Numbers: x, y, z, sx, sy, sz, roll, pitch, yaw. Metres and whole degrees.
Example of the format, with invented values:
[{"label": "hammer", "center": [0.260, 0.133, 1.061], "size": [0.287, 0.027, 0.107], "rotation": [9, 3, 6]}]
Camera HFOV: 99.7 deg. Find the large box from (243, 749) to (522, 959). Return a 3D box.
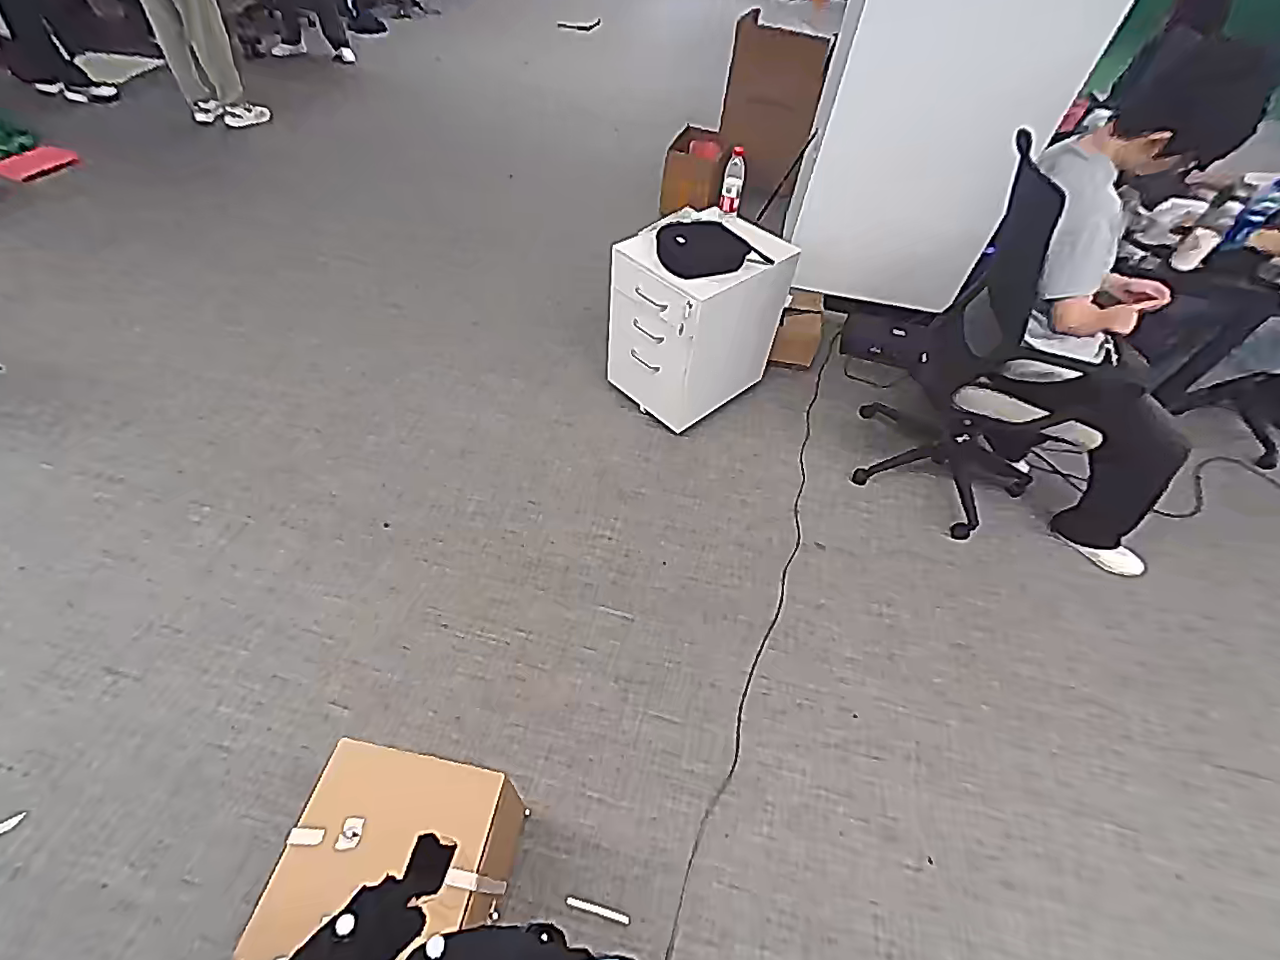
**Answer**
[{"label": "large box", "center": [-0.432, 0.737, 1.023], "size": [0.320, 0.408, 0.320], "rotation": [12, 52, 3]}]
